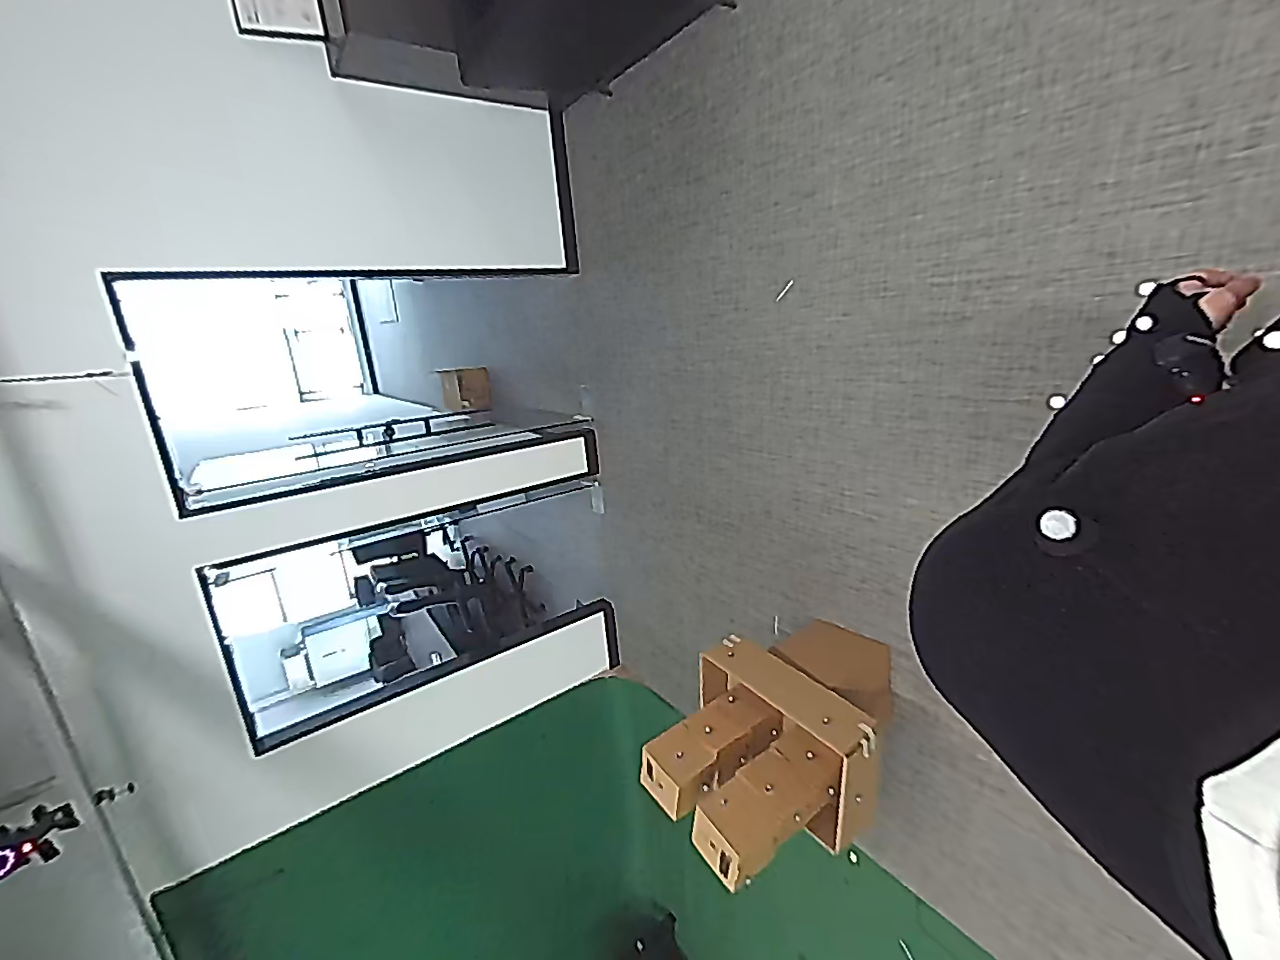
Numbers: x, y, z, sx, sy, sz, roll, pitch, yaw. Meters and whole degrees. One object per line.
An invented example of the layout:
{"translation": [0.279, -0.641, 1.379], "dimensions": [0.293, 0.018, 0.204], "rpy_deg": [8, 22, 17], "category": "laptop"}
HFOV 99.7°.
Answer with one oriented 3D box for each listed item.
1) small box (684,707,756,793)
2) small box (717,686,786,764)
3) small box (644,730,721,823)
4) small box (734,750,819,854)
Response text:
{"translation": [0.267, 0.897, 1.822], "dimensions": [0.179, 0.176, 0.168], "rpy_deg": [17, 116, 50], "category": "small box"}
{"translation": [0.393, 0.859, 1.915], "dimensions": [0.179, 0.176, 0.168], "rpy_deg": [18, 118, 50], "category": "small box"}
{"translation": [0.135, 0.937, 1.732], "dimensions": [0.179, 0.176, 0.168], "rpy_deg": [28, 125, 44], "category": "small box"}
{"translation": [0.412, 0.961, 1.631], "dimensions": [0.179, 0.176, 0.168], "rpy_deg": [34, 128, 46], "category": "small box"}
